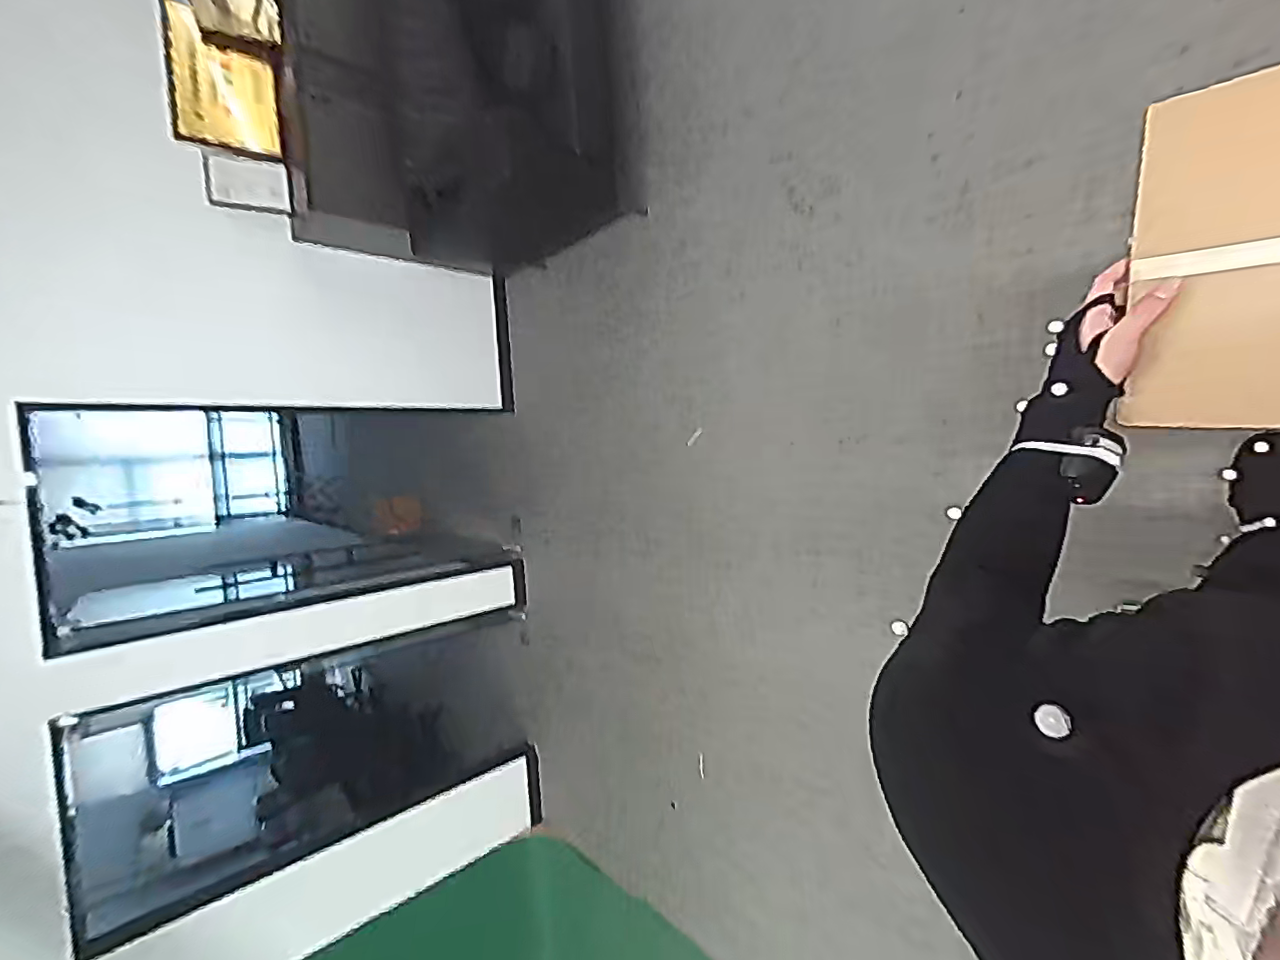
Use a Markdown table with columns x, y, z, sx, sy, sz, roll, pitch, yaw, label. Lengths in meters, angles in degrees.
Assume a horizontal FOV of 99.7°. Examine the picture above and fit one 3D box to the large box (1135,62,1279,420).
| x | y | z | sx | sy | sz | roll | pitch | yaw | label |
| --- | --- | --- | --- | --- | --- | --- | --- | --- | --- |
| 0.752 | -0.214 | 0.499 | 0.408 | 0.320 | 0.320 | 8 | 101 | 47 | large box |
